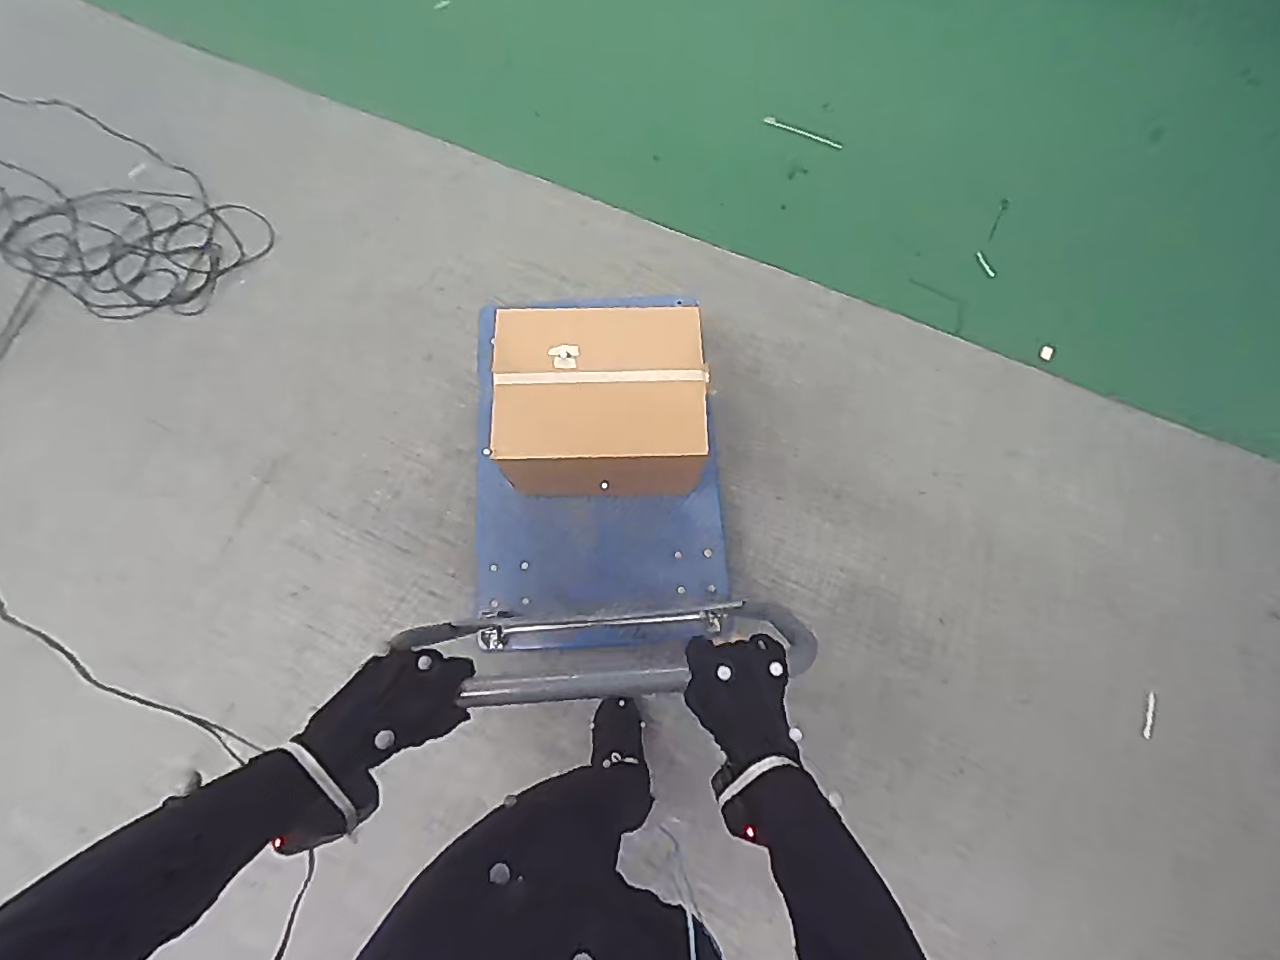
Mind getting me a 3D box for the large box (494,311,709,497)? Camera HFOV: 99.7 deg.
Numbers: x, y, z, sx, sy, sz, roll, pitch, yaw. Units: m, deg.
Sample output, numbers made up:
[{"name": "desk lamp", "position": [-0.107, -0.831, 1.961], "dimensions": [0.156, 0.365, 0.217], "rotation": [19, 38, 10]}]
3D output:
[{"name": "large box", "position": [-0.075, -0.146, 1.178], "dimensions": [0.408, 0.320, 0.320], "rotation": [-1, 75, -1]}]
